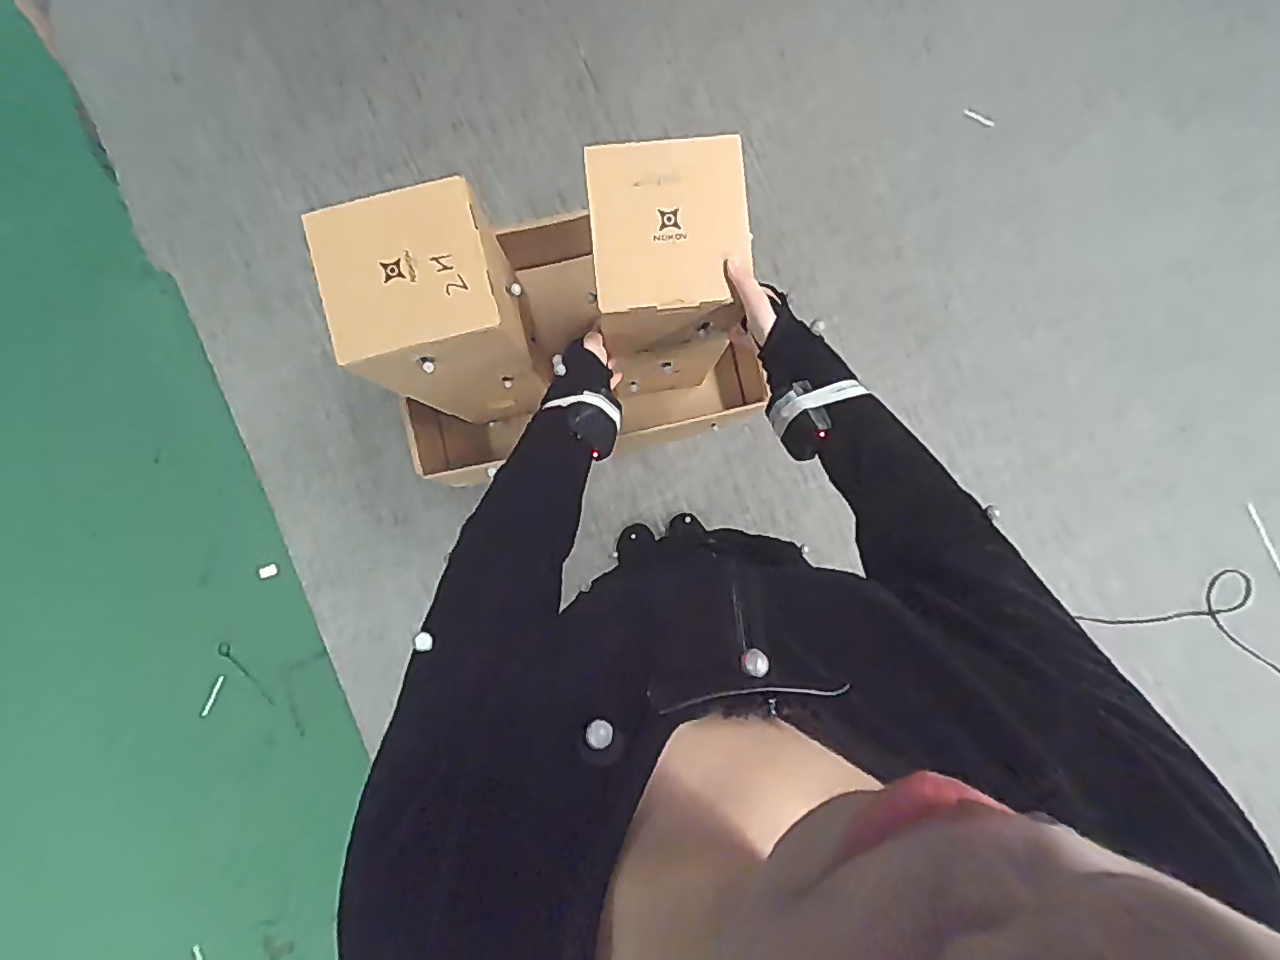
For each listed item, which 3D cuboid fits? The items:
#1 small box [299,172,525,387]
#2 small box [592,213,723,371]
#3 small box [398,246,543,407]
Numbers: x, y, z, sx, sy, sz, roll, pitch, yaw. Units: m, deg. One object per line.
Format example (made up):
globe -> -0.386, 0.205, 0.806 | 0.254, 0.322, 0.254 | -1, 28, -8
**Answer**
small box -> -0.251, -0.218, 0.635 | 0.179, 0.176, 0.168 | -14, 89, -2
small box -> 0.023, -0.264, 0.801 | 0.168, 0.176, 0.179 | -6, 90, -1
small box -> -0.256, -0.215, 0.801 | 0.179, 0.176, 0.168 | -14, 89, -2
